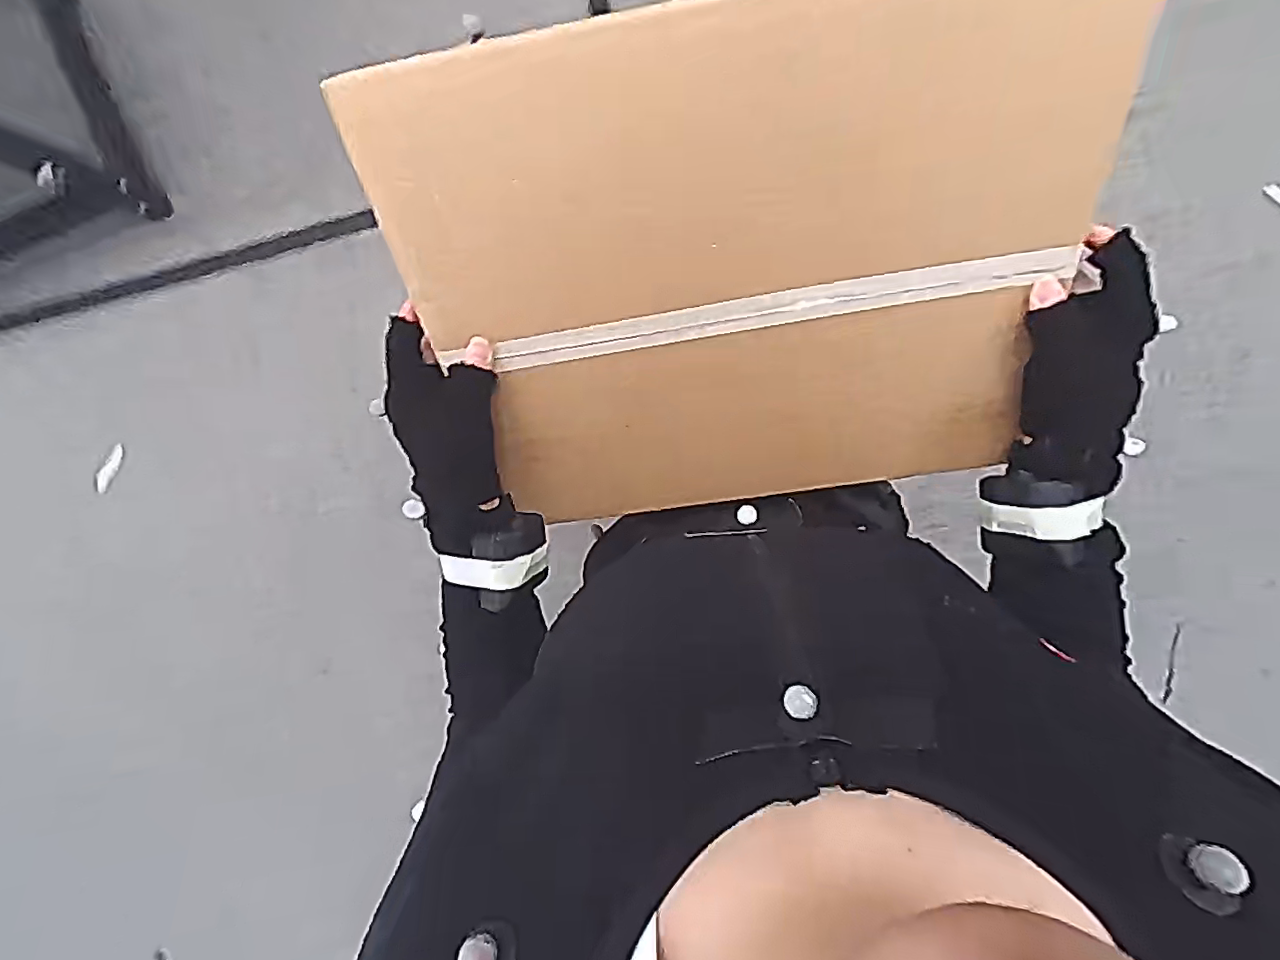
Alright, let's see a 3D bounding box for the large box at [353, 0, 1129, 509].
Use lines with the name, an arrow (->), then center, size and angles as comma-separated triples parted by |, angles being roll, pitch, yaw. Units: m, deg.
large box -> 0.061, -0.210, 0.474 | 0.408, 0.320, 0.320 | -7, 130, 5
